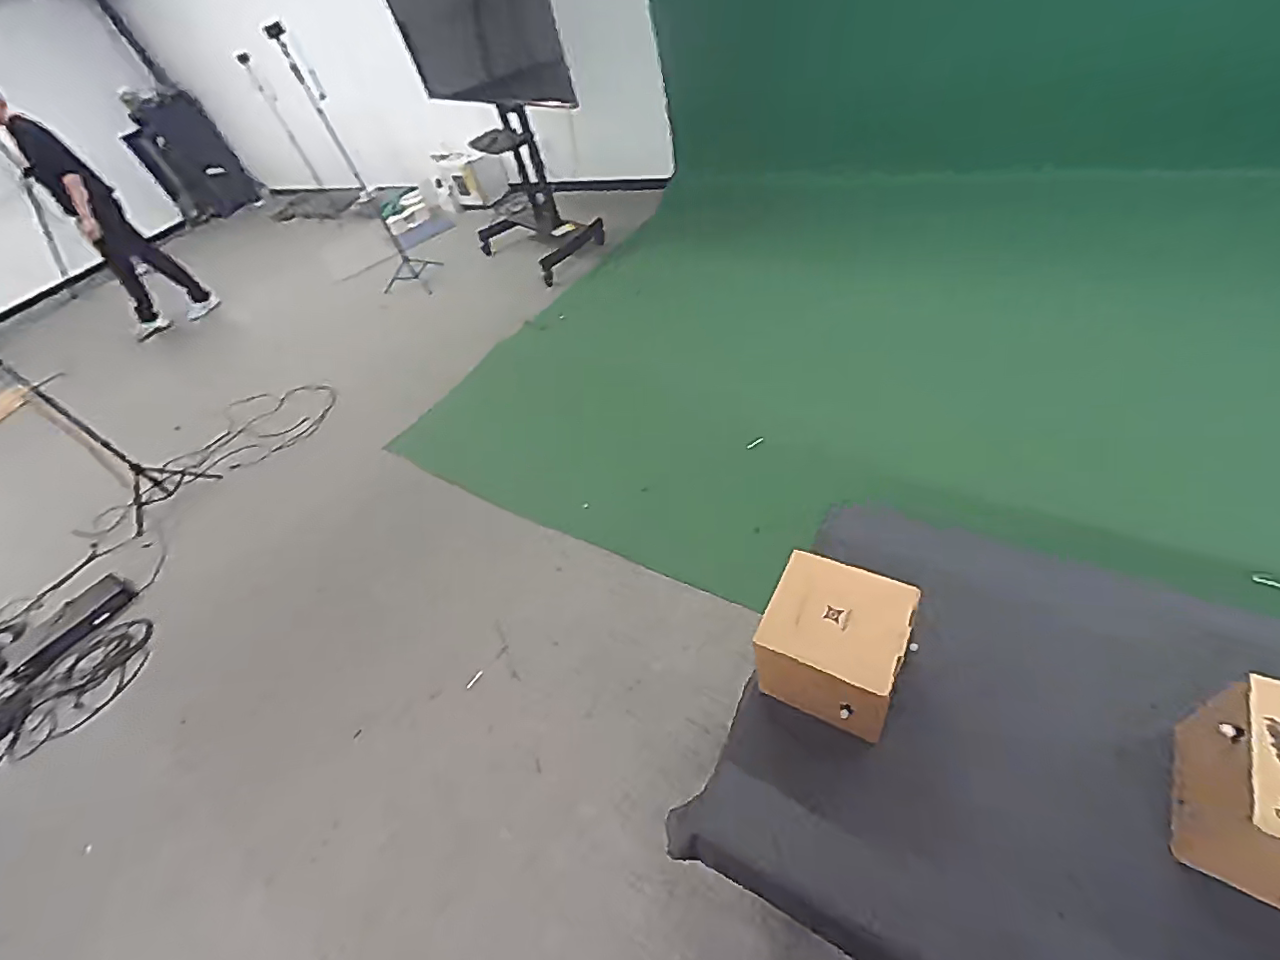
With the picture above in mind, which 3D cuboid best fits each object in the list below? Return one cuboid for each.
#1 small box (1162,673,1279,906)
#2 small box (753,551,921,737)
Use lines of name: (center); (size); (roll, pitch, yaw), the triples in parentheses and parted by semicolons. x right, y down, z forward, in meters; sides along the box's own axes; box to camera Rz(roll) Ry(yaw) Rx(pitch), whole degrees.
small box: (0.695, 0.338, 0.556); (0.179, 0.176, 0.168); (18, 54, 28)
small box: (0.275, 0.234, 0.766); (0.179, 0.176, 0.168); (15, 51, 28)
